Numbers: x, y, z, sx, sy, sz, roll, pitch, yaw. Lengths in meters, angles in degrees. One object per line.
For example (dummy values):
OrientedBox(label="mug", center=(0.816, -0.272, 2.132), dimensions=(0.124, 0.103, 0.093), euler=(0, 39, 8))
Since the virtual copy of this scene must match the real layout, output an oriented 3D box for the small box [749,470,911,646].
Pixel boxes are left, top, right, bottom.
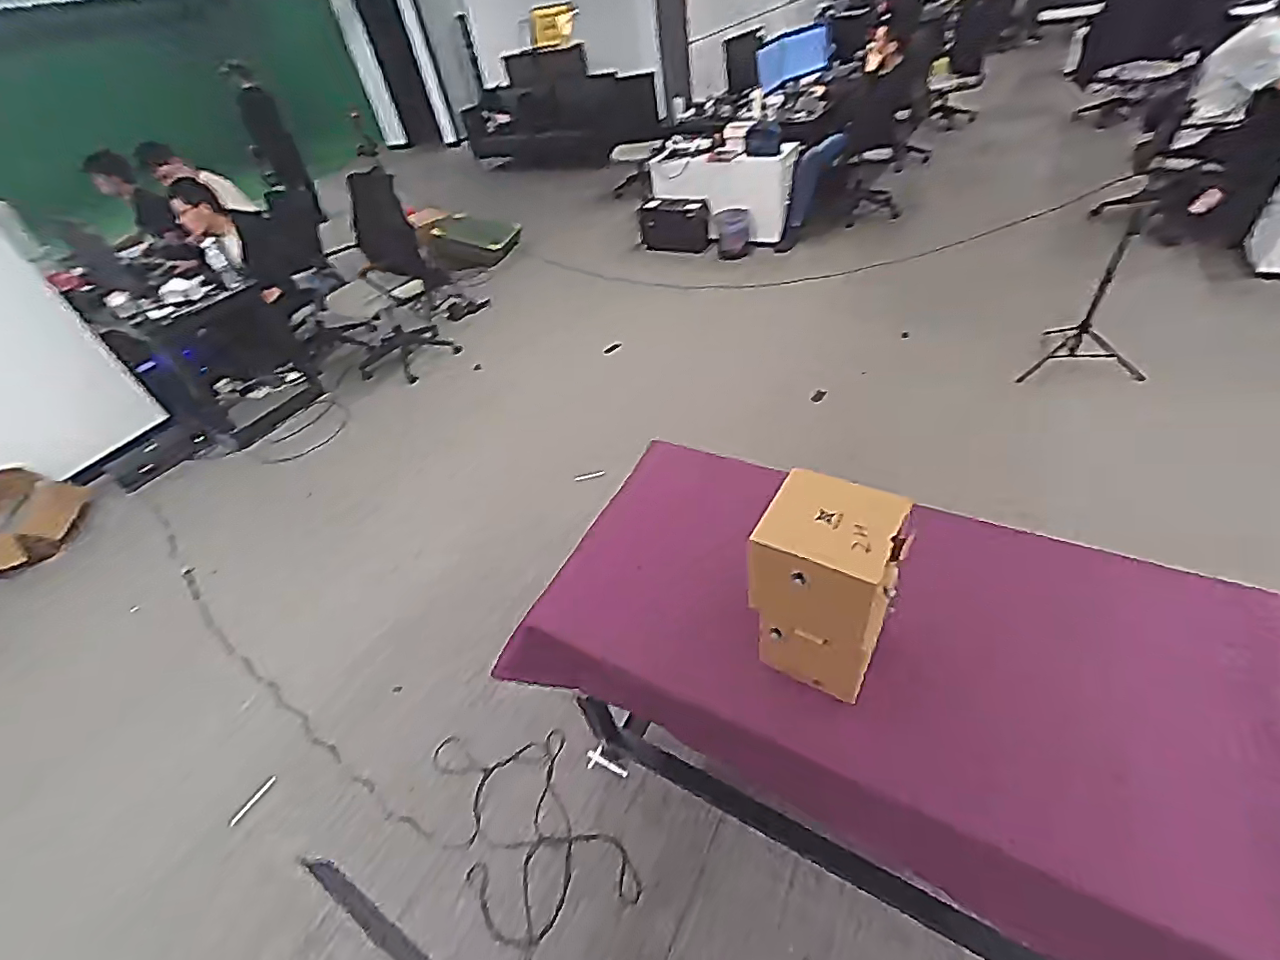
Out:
OrientedBox(label="small box", center=(0.277, 0.117, 0.808), dimensions=(0.179, 0.176, 0.168), euler=(20, 51, 29))
